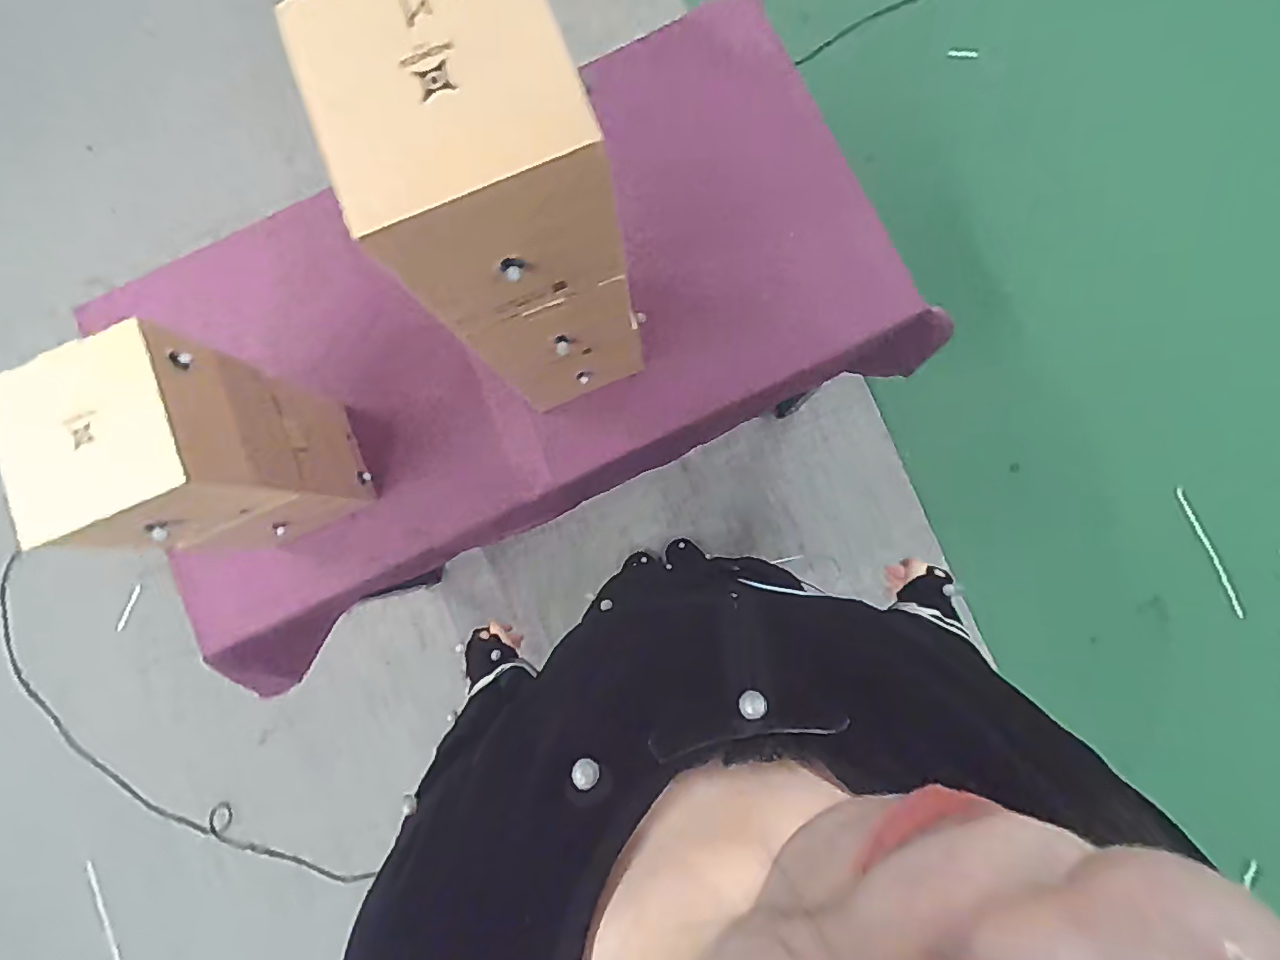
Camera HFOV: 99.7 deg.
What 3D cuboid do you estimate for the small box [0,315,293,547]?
[{"bbox_3d":[-0.519,-0.040,0.581,0.168,0.176,0.179,-23,83,0],"label":"small box"}]

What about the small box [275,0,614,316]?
[{"bbox_3d":[-0.127,-0.249,0.419,0.168,0.176,0.179,-21,84,0],"label":"small box"}]

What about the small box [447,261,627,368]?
[{"bbox_3d":[-0.119,-0.235,0.584,0.168,0.176,0.179,-19,85,0],"label":"small box"}]

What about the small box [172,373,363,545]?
[{"bbox_3d":[-0.514,-0.021,0.743,0.179,0.176,0.168,-24,84,0],"label":"small box"}]
